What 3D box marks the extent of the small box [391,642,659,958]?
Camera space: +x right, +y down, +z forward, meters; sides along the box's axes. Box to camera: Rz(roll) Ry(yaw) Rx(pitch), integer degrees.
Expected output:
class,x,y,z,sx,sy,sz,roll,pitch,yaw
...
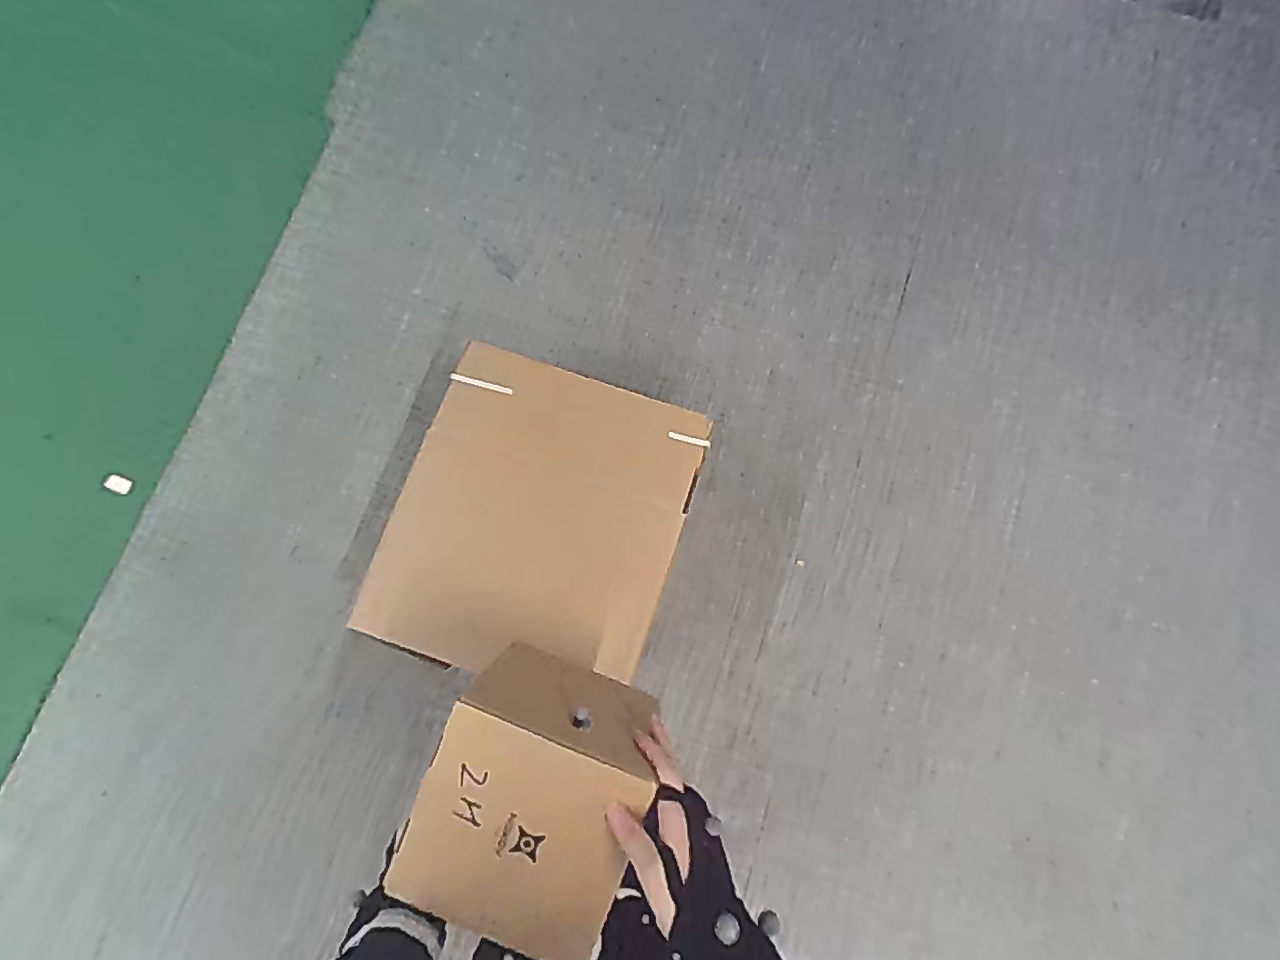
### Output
class,x,y,z,sx,sy,sz,roll,pitch,yaw
small box,-0.089,0.276,0.513,0.179,0.176,0.168,22,90,3
